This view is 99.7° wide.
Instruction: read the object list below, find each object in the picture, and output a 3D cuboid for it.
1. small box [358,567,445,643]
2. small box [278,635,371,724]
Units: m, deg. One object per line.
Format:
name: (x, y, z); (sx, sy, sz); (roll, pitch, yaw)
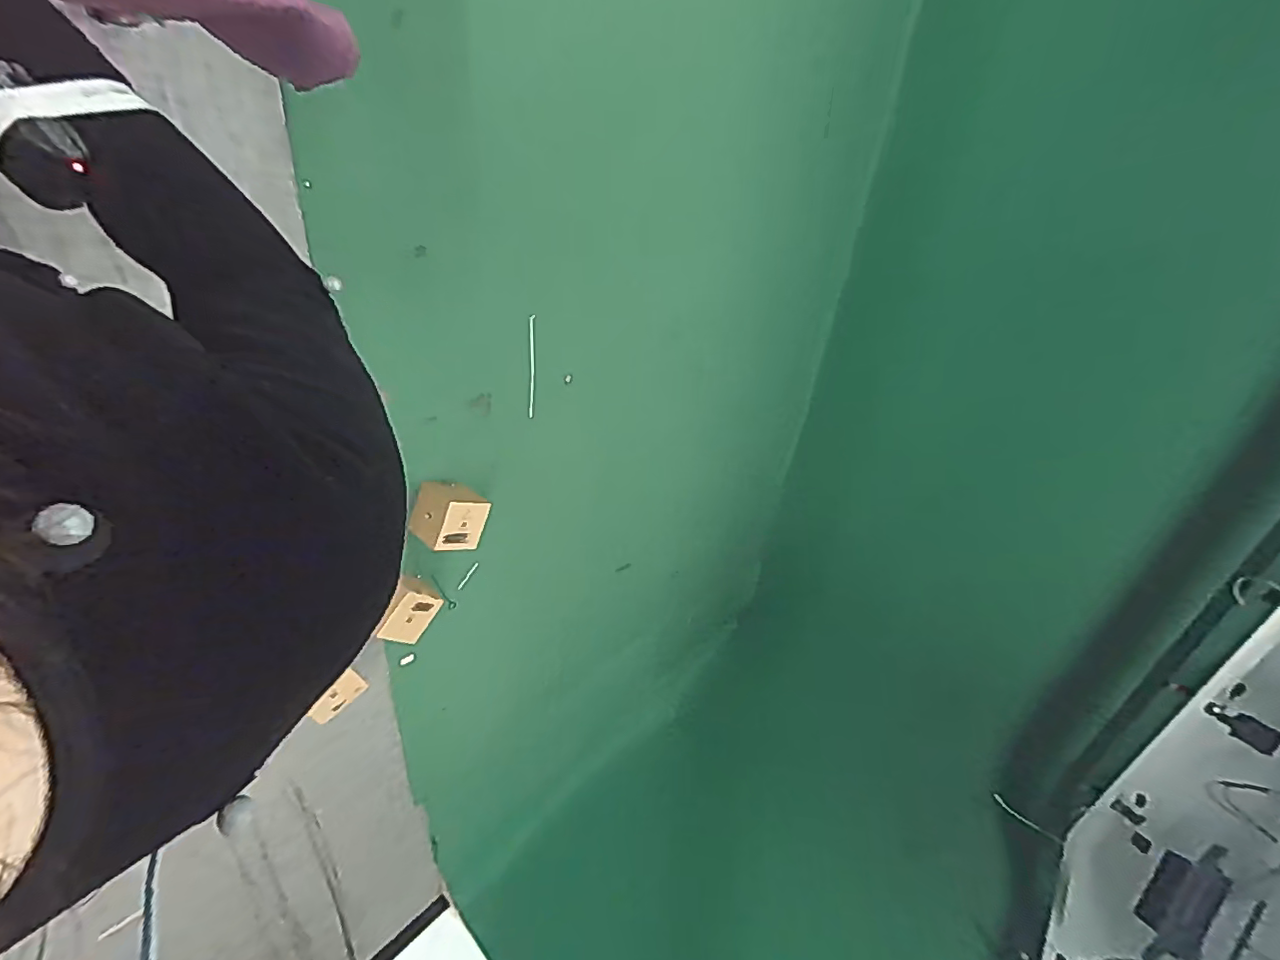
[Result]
small box: (-0.803, 0.418, 1.812); (0.179, 0.176, 0.168); (-56, 147, -6)
small box: (-0.996, 0.620, 1.704); (0.168, 0.176, 0.179); (-40, 141, -29)
